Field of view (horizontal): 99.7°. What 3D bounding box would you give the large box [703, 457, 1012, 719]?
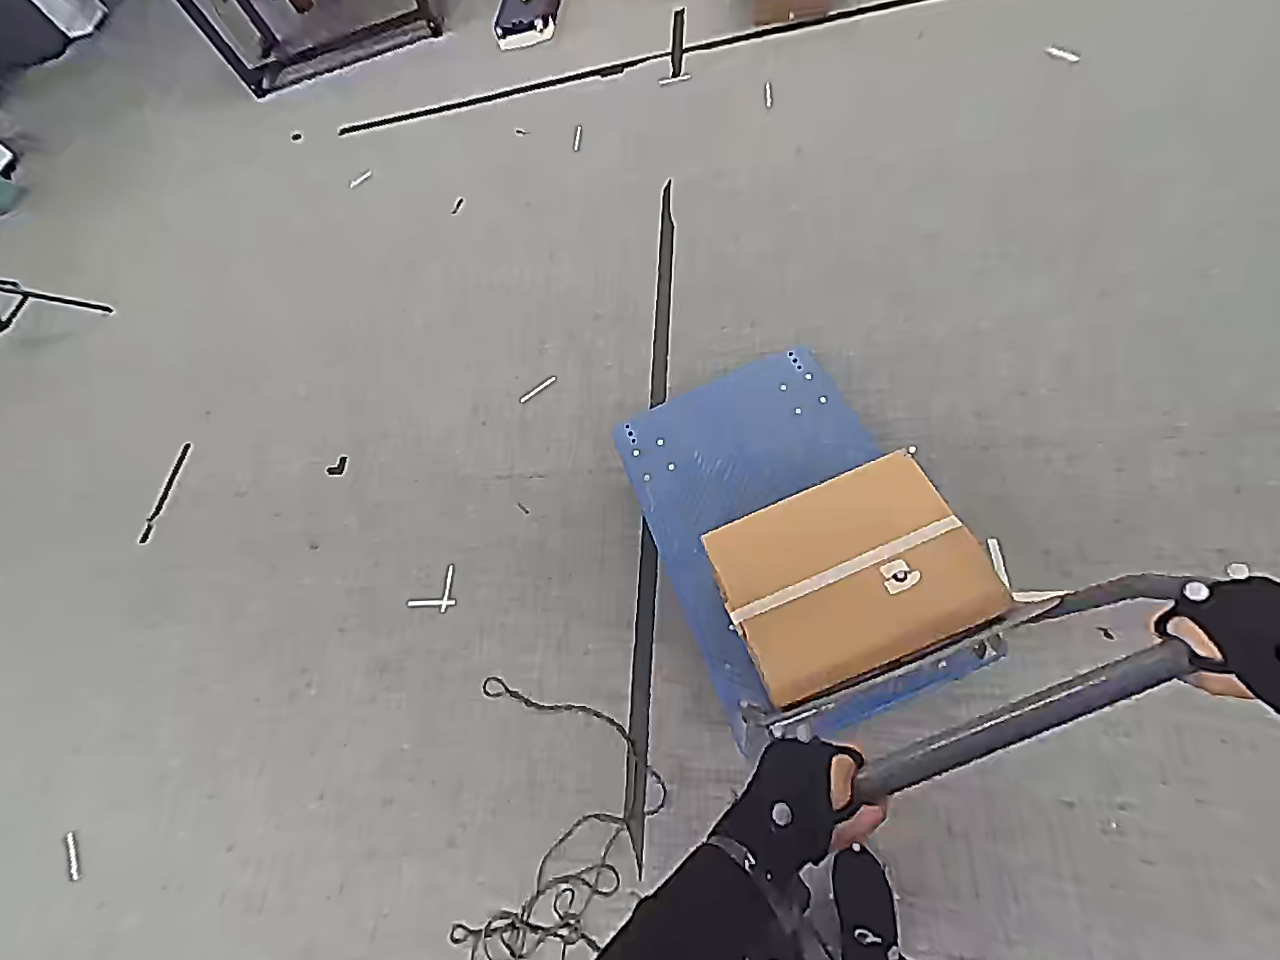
[{"bbox_3d":[0.372,0.224,1.034,0.408,0.320,0.320,-23,63,1],"label":"large box"}]
